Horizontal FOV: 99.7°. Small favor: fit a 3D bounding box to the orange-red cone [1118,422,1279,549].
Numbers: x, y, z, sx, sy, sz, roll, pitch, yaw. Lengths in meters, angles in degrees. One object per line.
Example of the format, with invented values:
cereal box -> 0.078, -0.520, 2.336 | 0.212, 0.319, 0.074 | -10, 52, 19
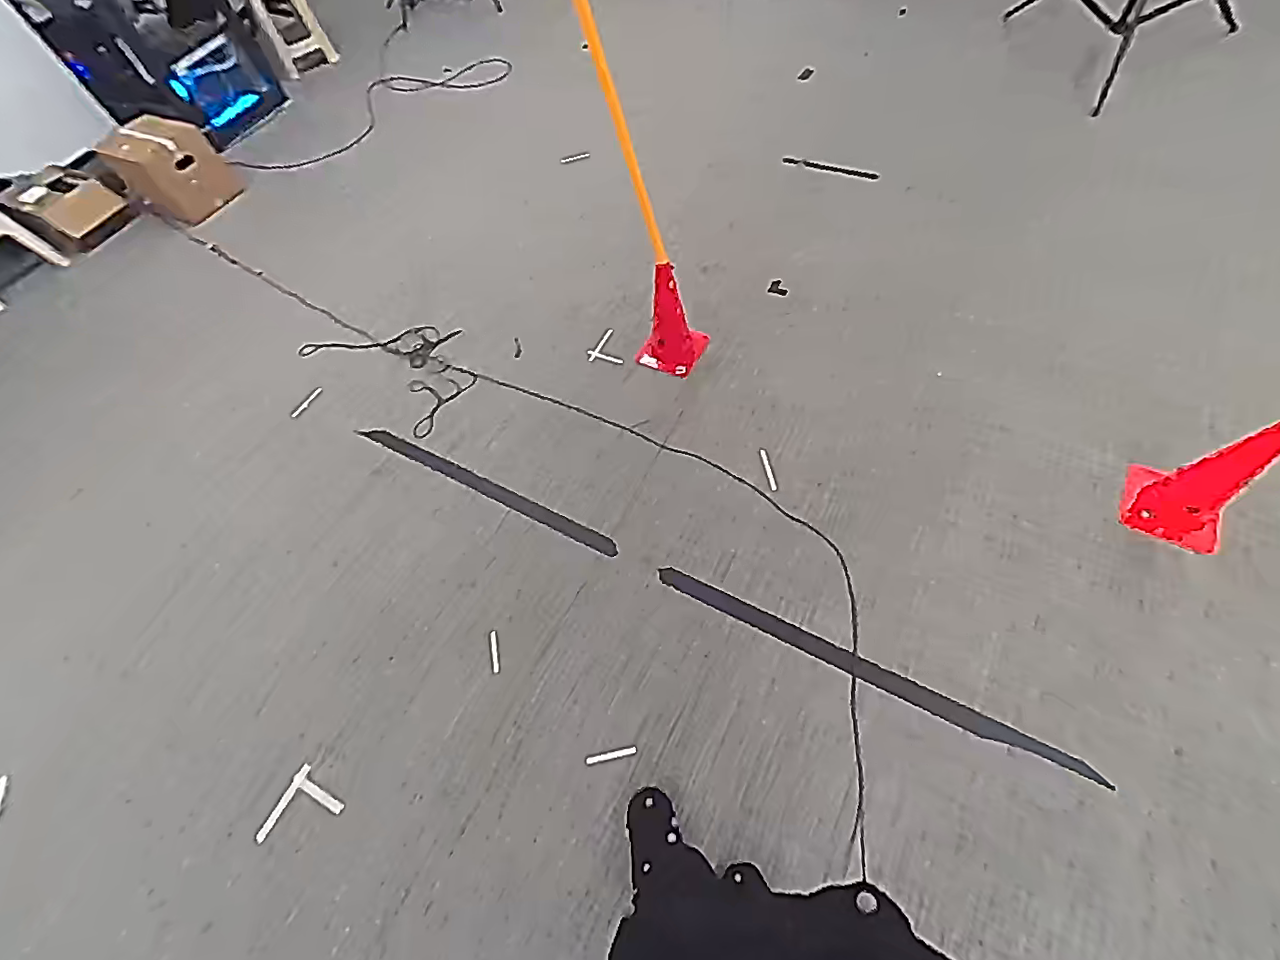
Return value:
orange-red cone -> 1.301, -0.025, 1.201 | 0.199, 0.360, 0.198 | 26, 68, 20
